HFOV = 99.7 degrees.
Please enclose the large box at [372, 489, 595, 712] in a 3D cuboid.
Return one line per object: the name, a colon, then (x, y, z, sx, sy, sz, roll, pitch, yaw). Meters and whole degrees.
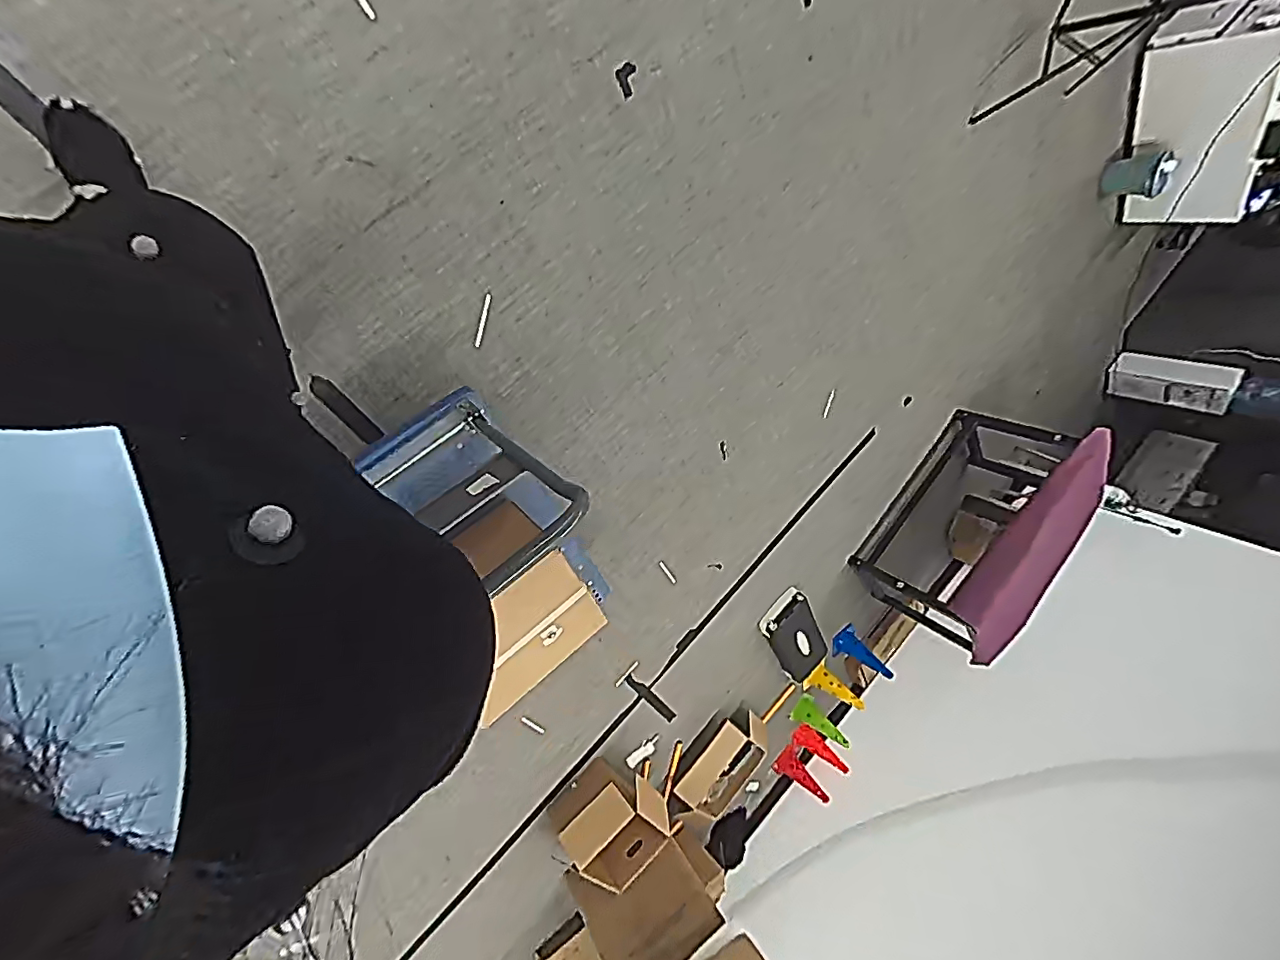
large box: (-0.402, 0.298, 1.410, 0.408, 0.320, 0.320, -40, 130, -18)
